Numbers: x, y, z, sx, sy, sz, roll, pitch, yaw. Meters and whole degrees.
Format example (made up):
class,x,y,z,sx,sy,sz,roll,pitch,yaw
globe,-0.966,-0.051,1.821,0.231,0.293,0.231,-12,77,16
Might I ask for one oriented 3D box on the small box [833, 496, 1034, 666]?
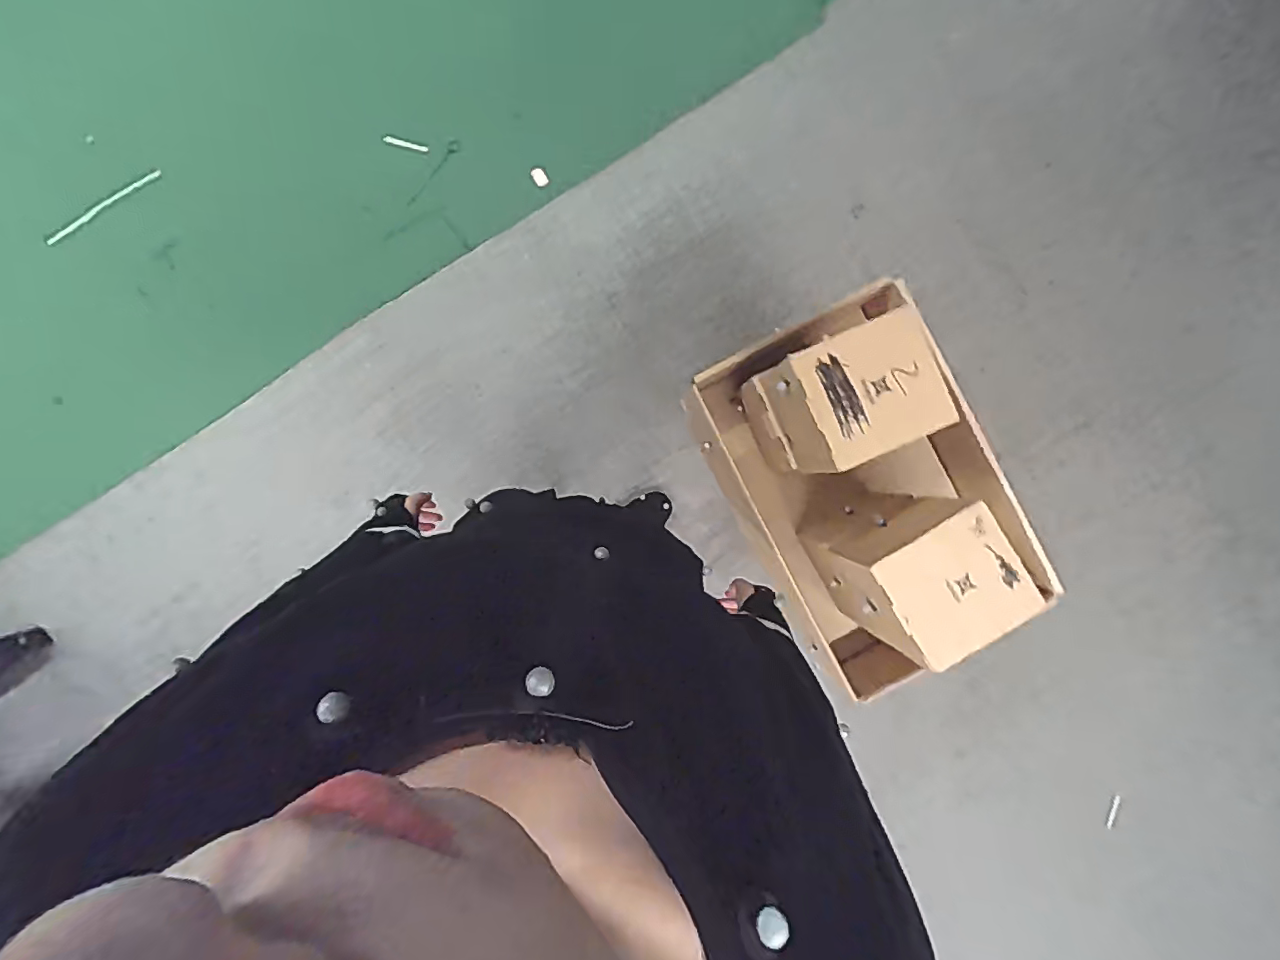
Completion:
class,x,y,z,sx,sy,sz,roll,pitch,yaw
small box,0.408,0.135,0.793,0.179,0.176,0.168,-30,91,1
